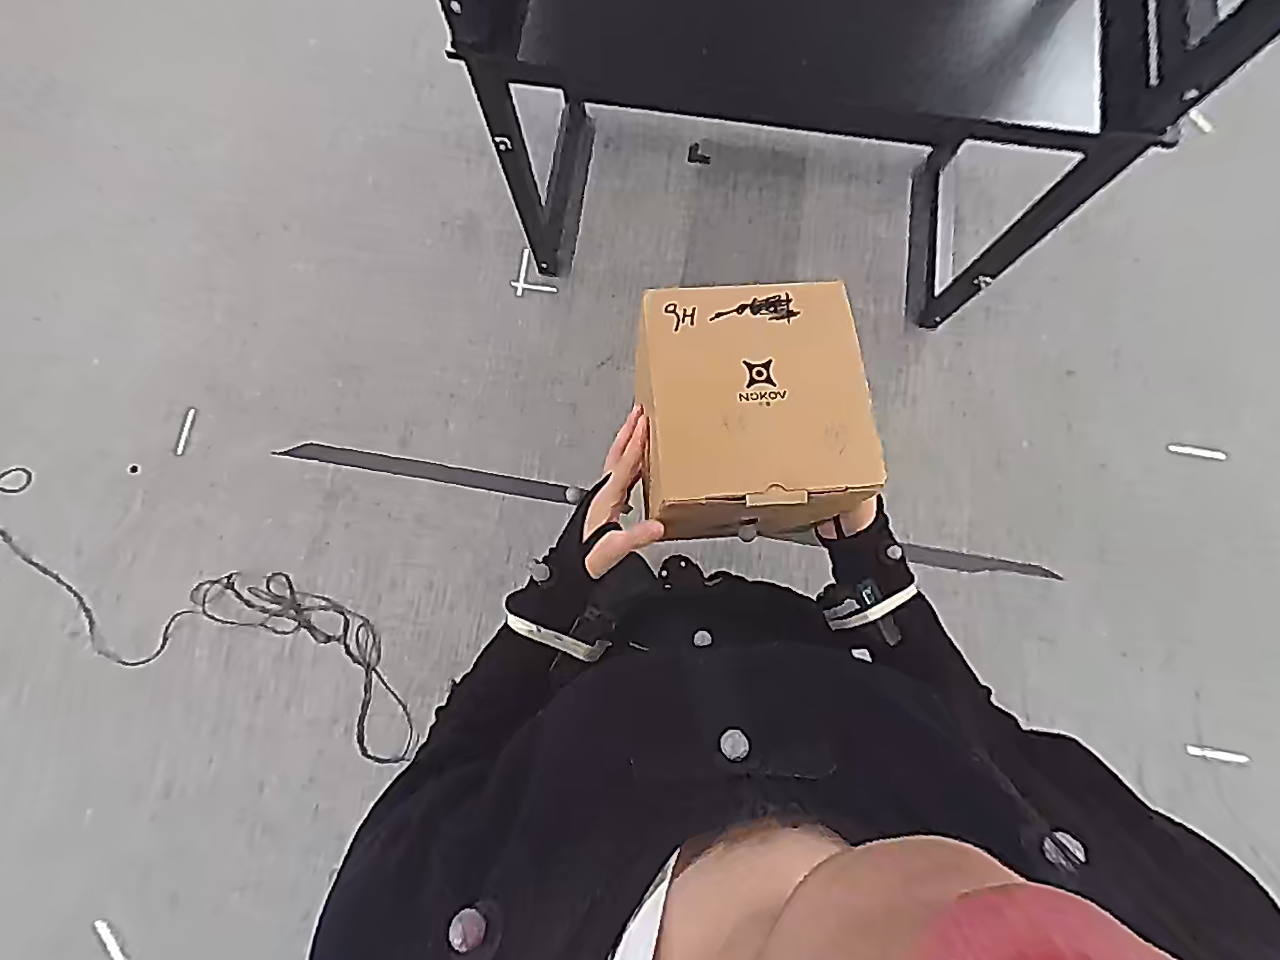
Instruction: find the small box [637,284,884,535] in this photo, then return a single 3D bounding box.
[{"bbox_3d":[0.086,-0.048,0.484,0.168,0.176,0.179,-4,75,-4],"label":"small box"}]
